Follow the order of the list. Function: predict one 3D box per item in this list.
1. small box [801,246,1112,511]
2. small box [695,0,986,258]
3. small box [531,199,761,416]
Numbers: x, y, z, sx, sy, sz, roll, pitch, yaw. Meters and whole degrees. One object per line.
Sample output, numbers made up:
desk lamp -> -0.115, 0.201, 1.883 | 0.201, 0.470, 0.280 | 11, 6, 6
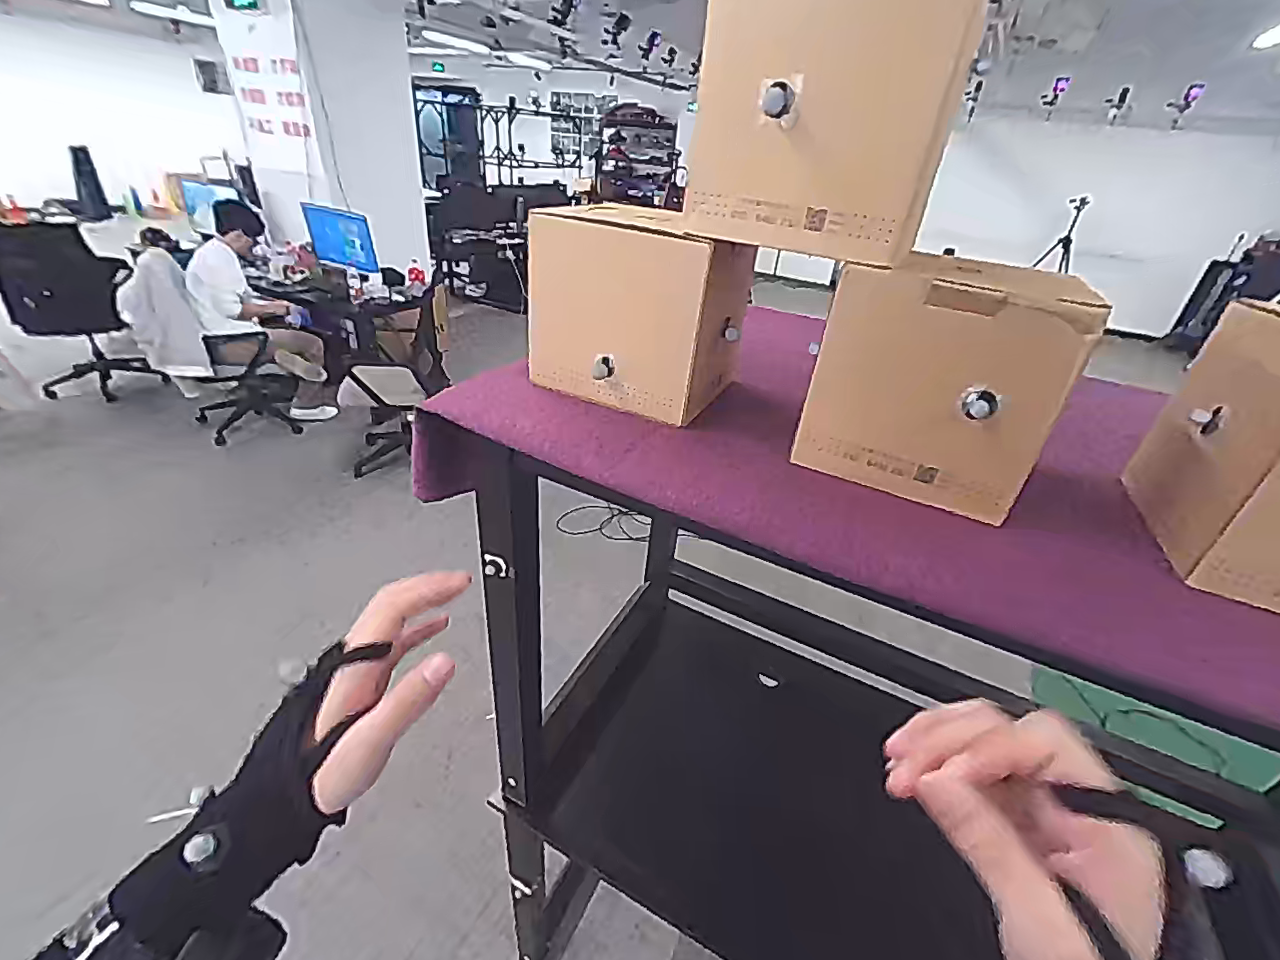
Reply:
small box -> 0.250, -0.097, 0.462 | 0.168, 0.176, 0.179 | 21, 33, 22
small box -> 0.152, -0.278, 0.428 | 0.168, 0.176, 0.179 | 19, 32, 21
small box -> 0.007, -0.180, 0.555 | 0.179, 0.176, 0.168 | 19, 33, 18
